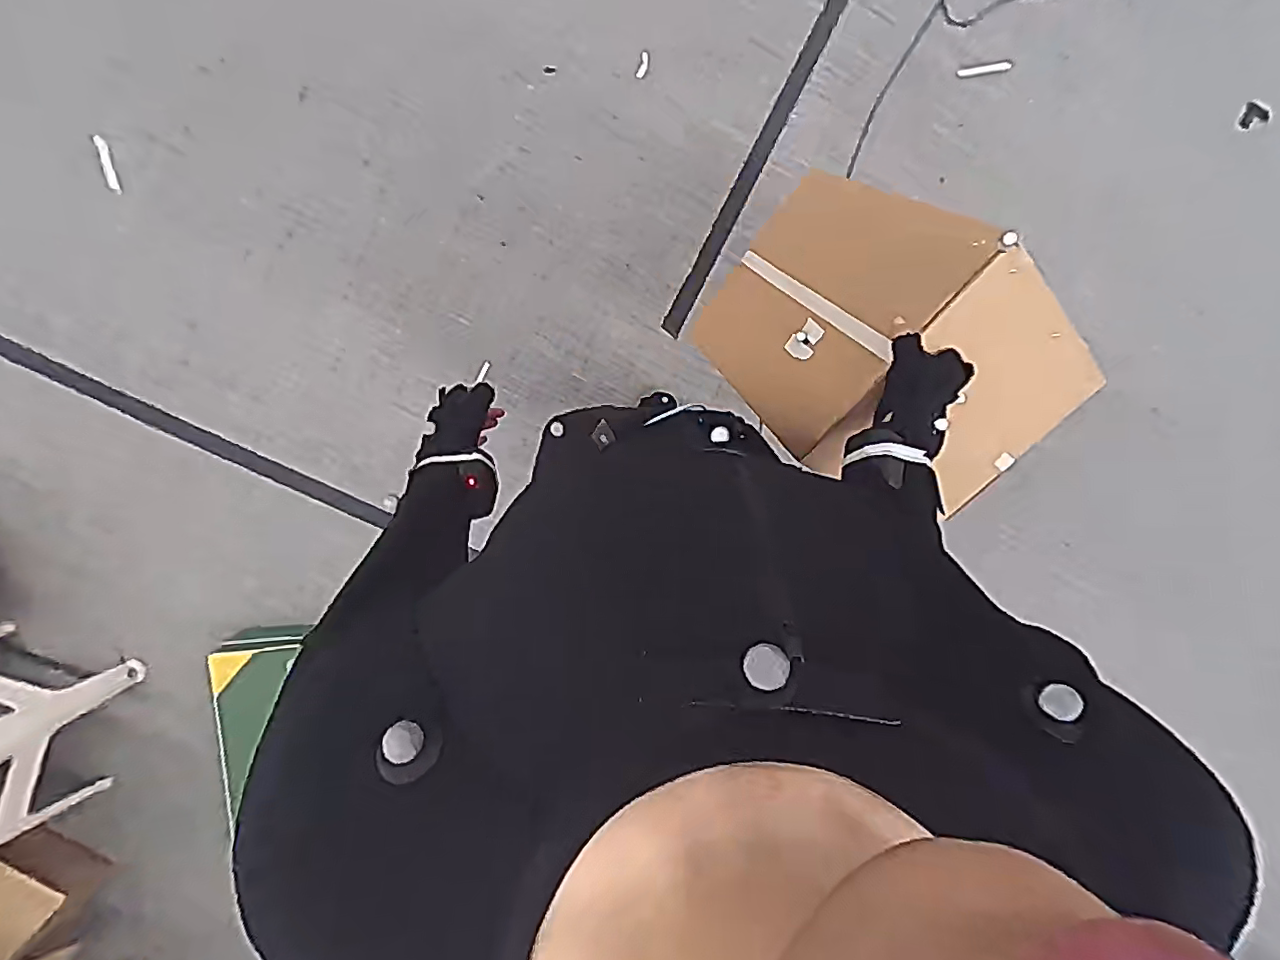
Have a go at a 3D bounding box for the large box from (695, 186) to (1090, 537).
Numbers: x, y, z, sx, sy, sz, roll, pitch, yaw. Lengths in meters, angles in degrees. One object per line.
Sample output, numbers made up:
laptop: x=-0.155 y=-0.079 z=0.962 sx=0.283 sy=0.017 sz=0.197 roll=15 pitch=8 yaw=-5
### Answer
large box: x=0.351 y=-0.187 z=0.838 sx=0.320 sy=0.408 sz=0.320 roll=26 pitch=115 yaw=-33
